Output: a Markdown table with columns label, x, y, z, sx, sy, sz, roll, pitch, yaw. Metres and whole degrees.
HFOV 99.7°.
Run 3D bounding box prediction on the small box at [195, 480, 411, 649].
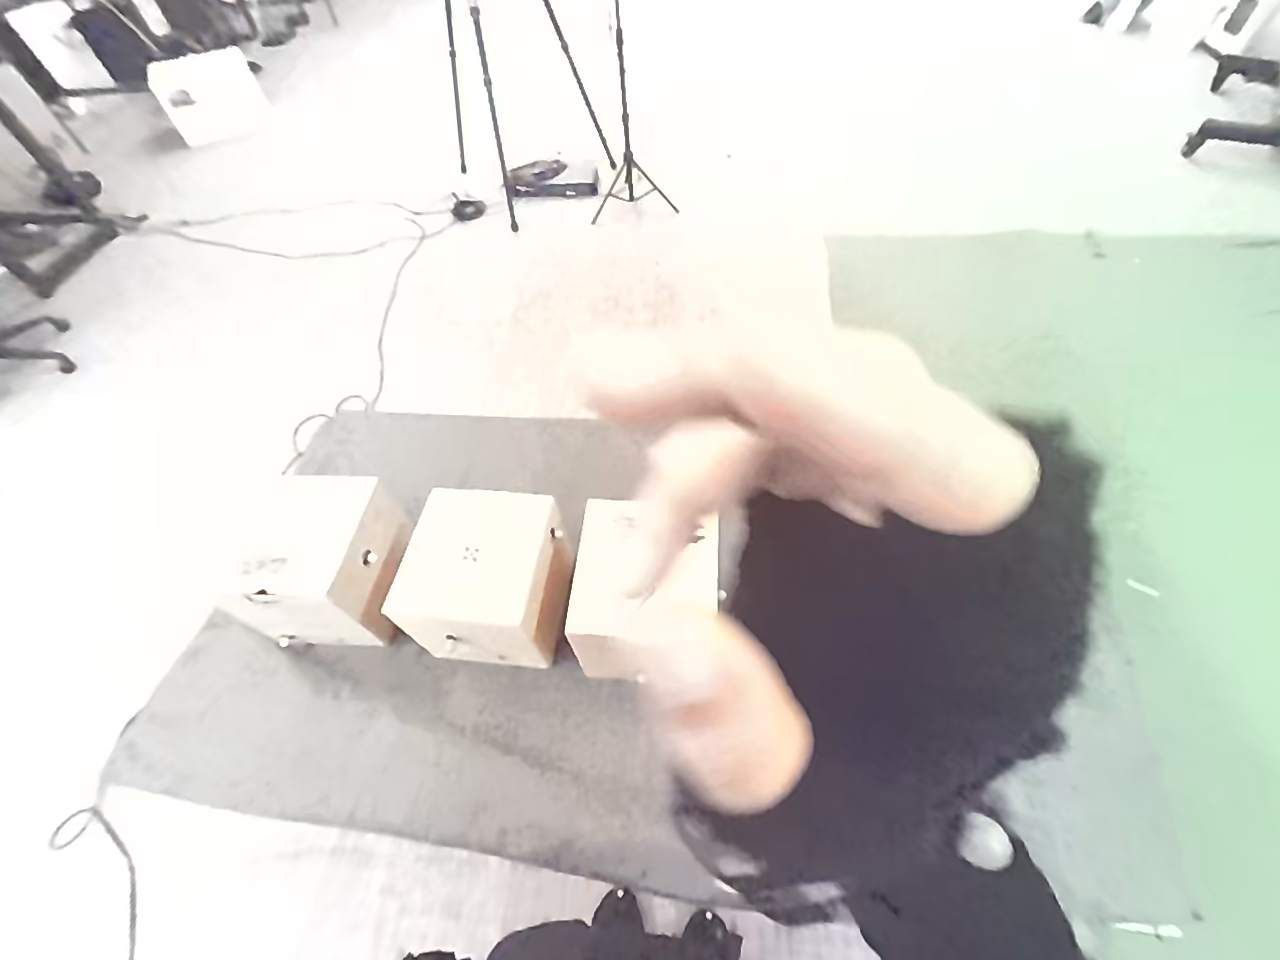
| label | x | y | z | sx | sy | sz | roll | pitch | yaw |
| --- | --- | --- | --- | --- | --- | --- | --- | --- | --- |
| small box | -0.430 | 0.119 | 0.738 | 0.168 | 0.176 | 0.179 | 1 | 53 | 5 |

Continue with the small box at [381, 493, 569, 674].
| label | x | y | z | sx | sy | sz | roll | pitch | yaw |
| --- | --- | --- | --- | --- | --- | --- | --- | --- | --- |
| small box | -0.196 | 0.139 | 0.708 | 0.168 | 0.176 | 0.179 | 4 | 53 | 7 |
